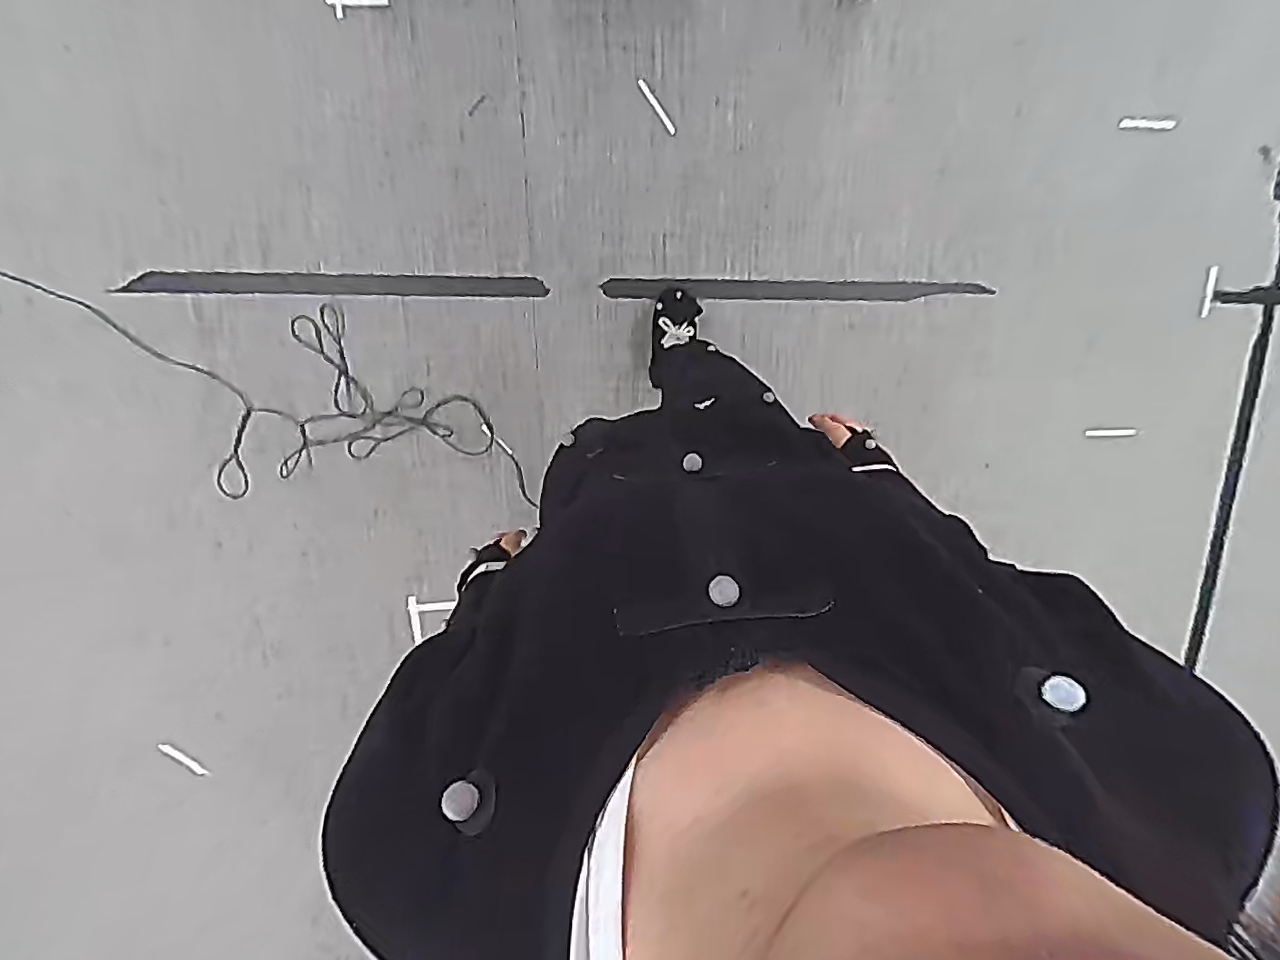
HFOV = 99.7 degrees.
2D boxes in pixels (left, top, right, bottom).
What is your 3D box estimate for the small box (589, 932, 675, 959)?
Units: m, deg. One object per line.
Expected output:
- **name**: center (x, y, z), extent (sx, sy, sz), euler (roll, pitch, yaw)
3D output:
- **small box**: center (-0.014, 0.998, 1.021), extent (0.168, 0.176, 0.179), euler (2, 103, -5)
